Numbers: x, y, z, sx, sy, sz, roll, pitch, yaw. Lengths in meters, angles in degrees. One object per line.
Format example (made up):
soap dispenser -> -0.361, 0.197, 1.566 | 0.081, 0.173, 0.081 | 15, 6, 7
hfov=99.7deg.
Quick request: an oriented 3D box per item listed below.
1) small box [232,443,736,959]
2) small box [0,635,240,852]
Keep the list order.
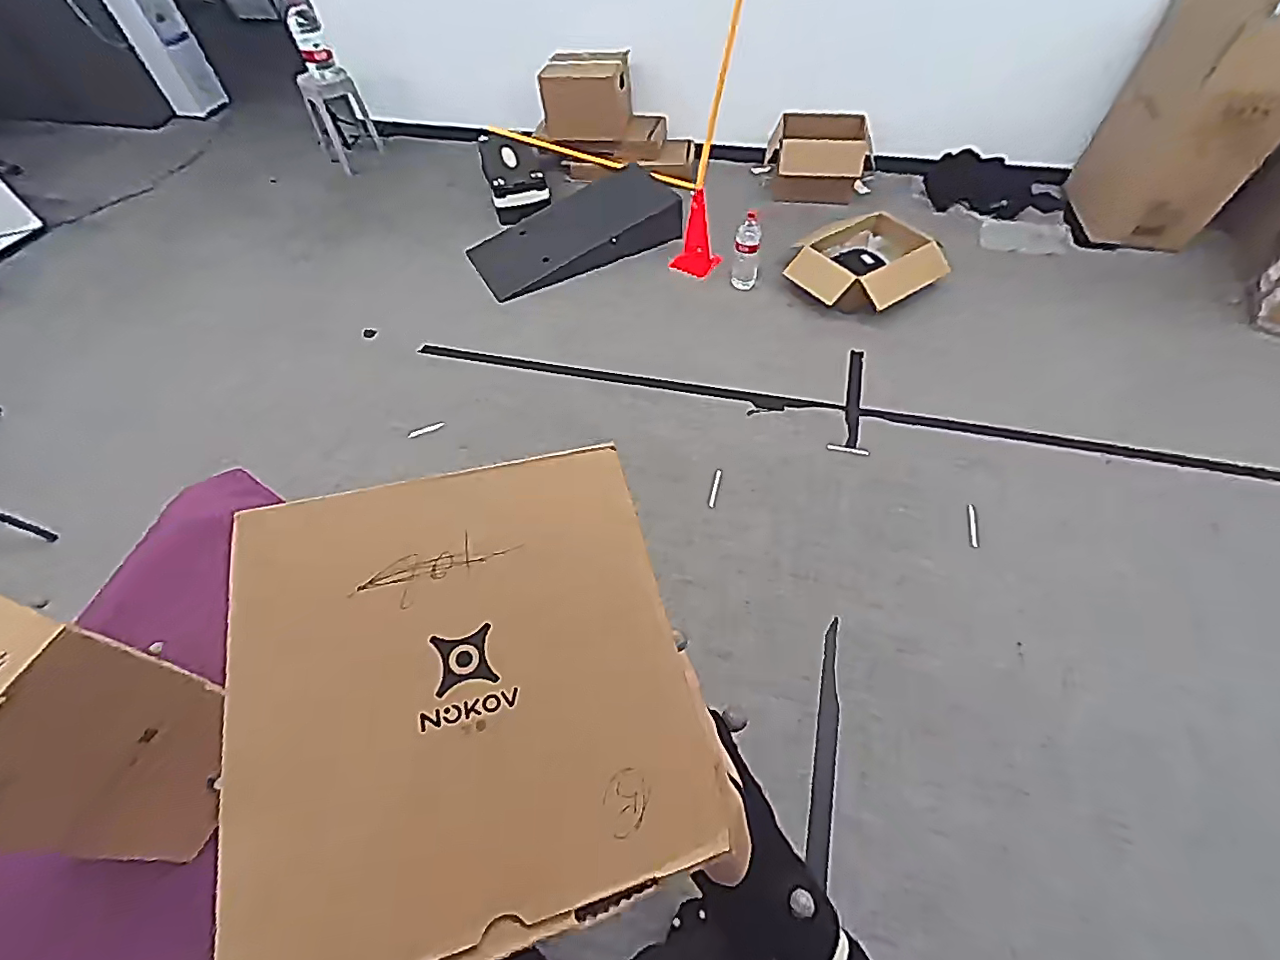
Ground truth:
small box -> -0.073, 0.109, 0.280 | 0.168, 0.176, 0.179 | -12, 64, -14
small box -> -0.576, 0.309, 0.627 | 0.179, 0.176, 0.168 | 16, 57, 14
